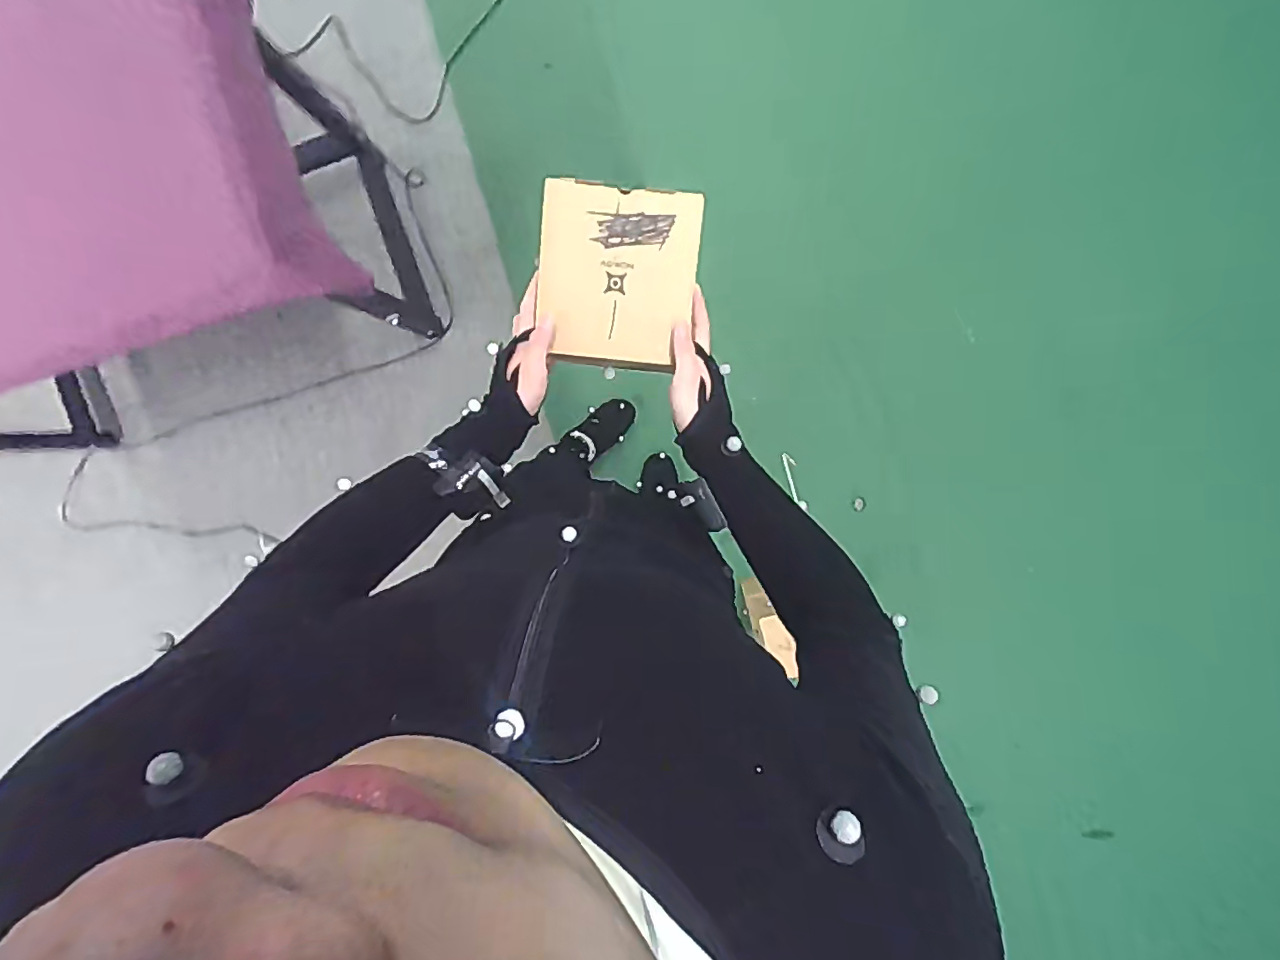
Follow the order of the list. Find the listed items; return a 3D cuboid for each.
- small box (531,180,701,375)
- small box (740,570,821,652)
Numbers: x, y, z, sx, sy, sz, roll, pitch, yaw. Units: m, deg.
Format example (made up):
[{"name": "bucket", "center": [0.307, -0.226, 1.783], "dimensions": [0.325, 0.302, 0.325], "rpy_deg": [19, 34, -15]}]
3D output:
[{"name": "small box", "center": [-0.027, -0.223, 0.639], "dimensions": [0.168, 0.176, 0.179], "rpy_deg": [5, 99, -1]}, {"name": "small box", "center": [0.398, 0.371, 1.556], "dimensions": [0.179, 0.176, 0.168], "rpy_deg": [-13, 94, 4]}]
